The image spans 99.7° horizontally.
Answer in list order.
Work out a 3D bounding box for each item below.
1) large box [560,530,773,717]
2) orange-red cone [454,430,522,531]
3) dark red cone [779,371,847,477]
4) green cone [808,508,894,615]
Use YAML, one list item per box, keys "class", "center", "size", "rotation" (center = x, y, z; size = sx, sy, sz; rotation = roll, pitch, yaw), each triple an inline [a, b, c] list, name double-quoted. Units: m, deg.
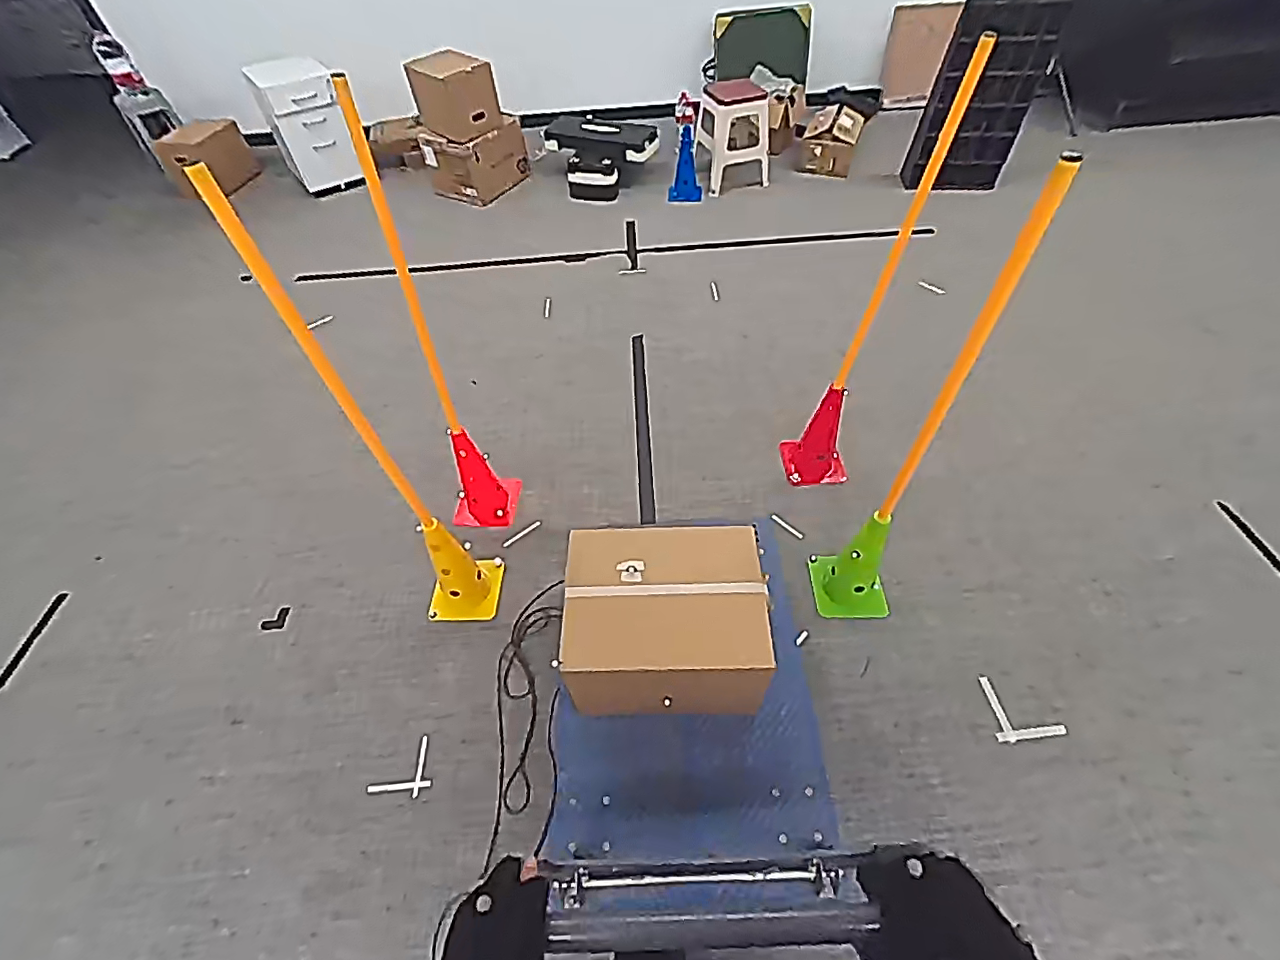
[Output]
- class: "large box"
  center: [0.056, 0.330, 1.212]
  size: [0.408, 0.320, 0.320]
  rotation: [-2, 51, 3]
- class: "orange-red cone"
  center: [-0.523, -0.023, 1.723]
  size: [0.198, 0.360, 0.199]
  rotation: [2, 50, 4]
- class: "dark red cone"
  center: [0.598, -0.188, 1.757]
  size: [0.201, 0.394, 0.202]
  rotation: [-3, 51, -1]
- class: "green cone"
  center: [0.605, 0.200, 1.465]
  size: [0.202, 0.368, 0.200]
  rotation: [-1, 51, 2]
